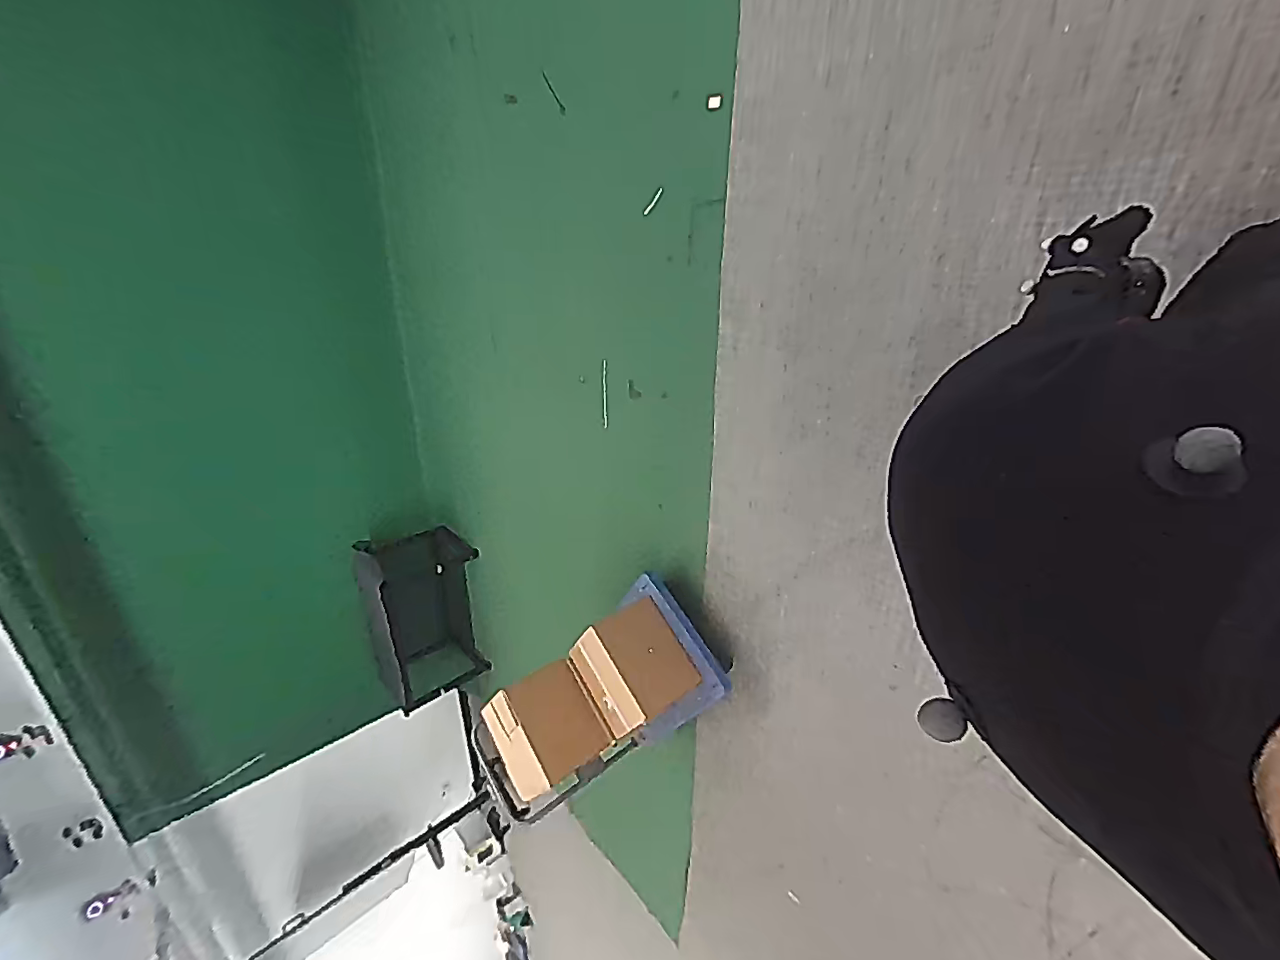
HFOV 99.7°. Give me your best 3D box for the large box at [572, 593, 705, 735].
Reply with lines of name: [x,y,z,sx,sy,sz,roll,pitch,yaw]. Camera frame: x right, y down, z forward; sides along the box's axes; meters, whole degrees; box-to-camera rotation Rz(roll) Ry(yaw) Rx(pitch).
large box: [-0.013,0.750,2.226,0.408,0.320,0.320,54,140,19]
